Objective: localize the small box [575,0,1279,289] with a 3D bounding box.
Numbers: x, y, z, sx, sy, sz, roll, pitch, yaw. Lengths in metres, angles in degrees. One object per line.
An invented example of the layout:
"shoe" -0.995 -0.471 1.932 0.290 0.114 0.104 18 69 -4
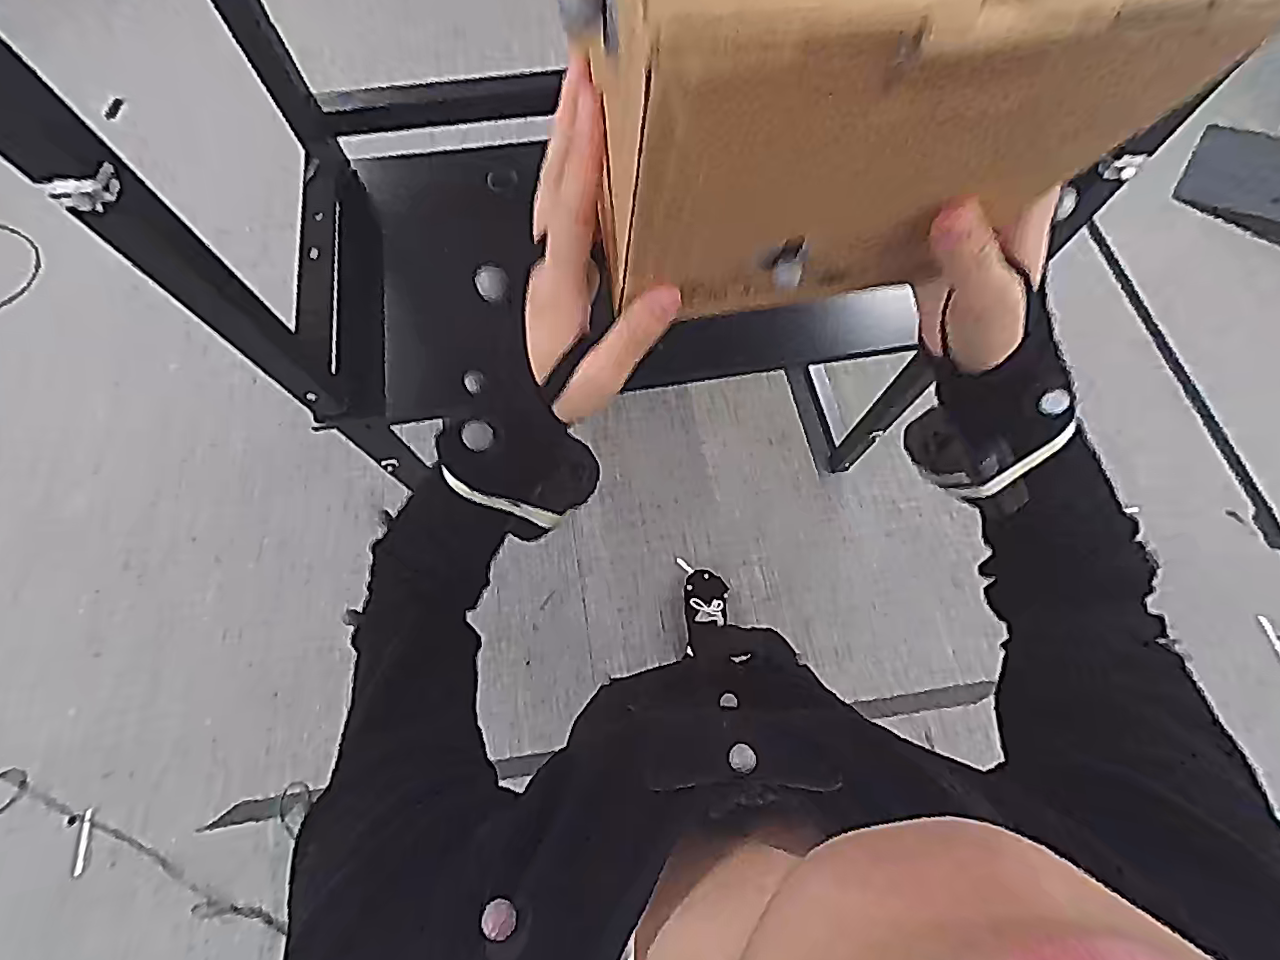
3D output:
"small box" 0.065 -0.190 0.186 0.168 0.176 0.179 -10 89 -6
